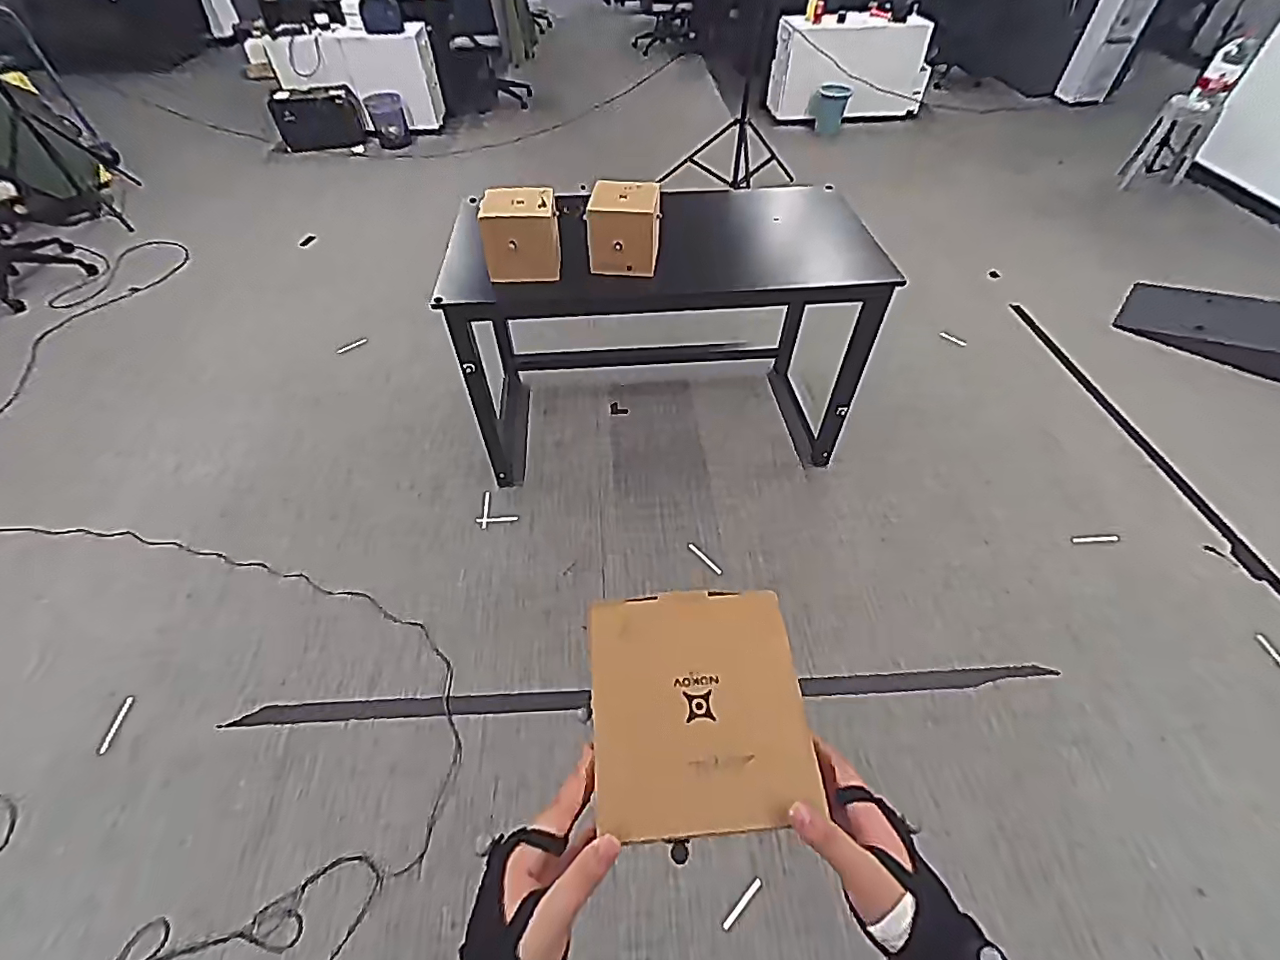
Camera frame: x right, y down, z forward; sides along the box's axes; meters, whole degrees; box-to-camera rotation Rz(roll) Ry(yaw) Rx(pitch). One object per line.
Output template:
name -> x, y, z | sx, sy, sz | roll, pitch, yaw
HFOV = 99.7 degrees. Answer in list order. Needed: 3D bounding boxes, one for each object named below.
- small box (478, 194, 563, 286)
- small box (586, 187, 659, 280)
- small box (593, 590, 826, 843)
small box -> -0.301, -0.616, 1.396 | 0.179, 0.176, 0.168 | -3, 49, -2
small box -> -0.040, -0.644, 1.417 | 0.168, 0.176, 0.179 | 5, 49, 4
small box -> 0.041, 0.217, 0.489 | 0.168, 0.176, 0.179 | -3, 56, -5
